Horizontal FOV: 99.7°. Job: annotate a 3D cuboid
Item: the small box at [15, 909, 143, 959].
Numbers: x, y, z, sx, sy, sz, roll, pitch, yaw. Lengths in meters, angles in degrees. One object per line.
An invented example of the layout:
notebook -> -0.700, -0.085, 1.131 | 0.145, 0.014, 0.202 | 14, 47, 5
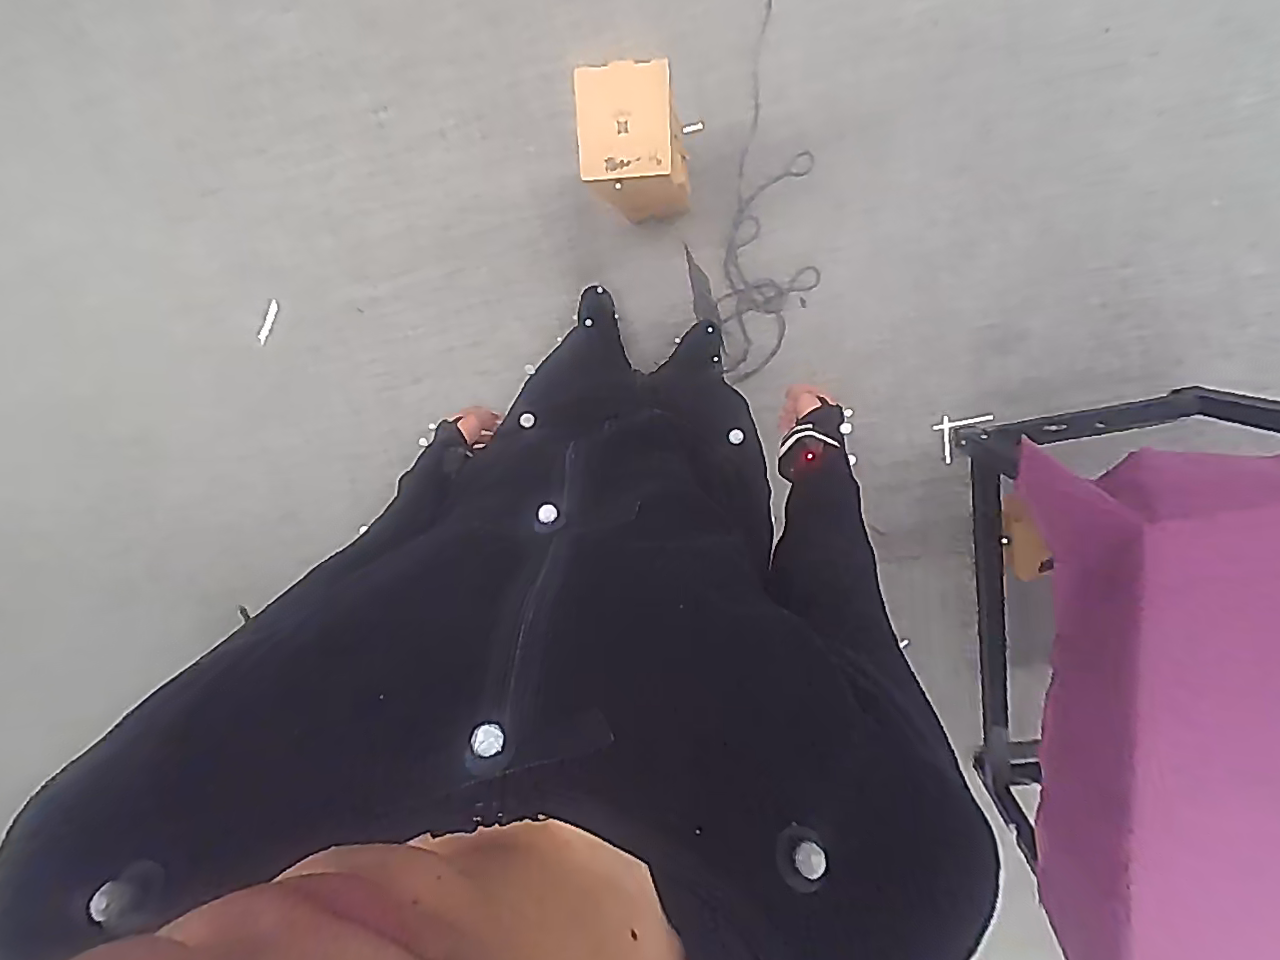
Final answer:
small box -> -1.439, 1.236, 1.375 | 0.179, 0.176, 0.168 | -5, 109, 10

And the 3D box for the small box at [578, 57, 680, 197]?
small box -> -0.015, -0.648, 1.013 | 0.168, 0.176, 0.179 | 0, 107, 8

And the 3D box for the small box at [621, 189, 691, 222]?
small box -> 0.031, -0.750, 1.320 | 0.168, 0.176, 0.179 | -8, 107, 11

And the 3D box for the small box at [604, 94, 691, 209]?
small box -> 0.009, -0.700, 1.167 | 0.179, 0.176, 0.168 | -7, 107, 10
